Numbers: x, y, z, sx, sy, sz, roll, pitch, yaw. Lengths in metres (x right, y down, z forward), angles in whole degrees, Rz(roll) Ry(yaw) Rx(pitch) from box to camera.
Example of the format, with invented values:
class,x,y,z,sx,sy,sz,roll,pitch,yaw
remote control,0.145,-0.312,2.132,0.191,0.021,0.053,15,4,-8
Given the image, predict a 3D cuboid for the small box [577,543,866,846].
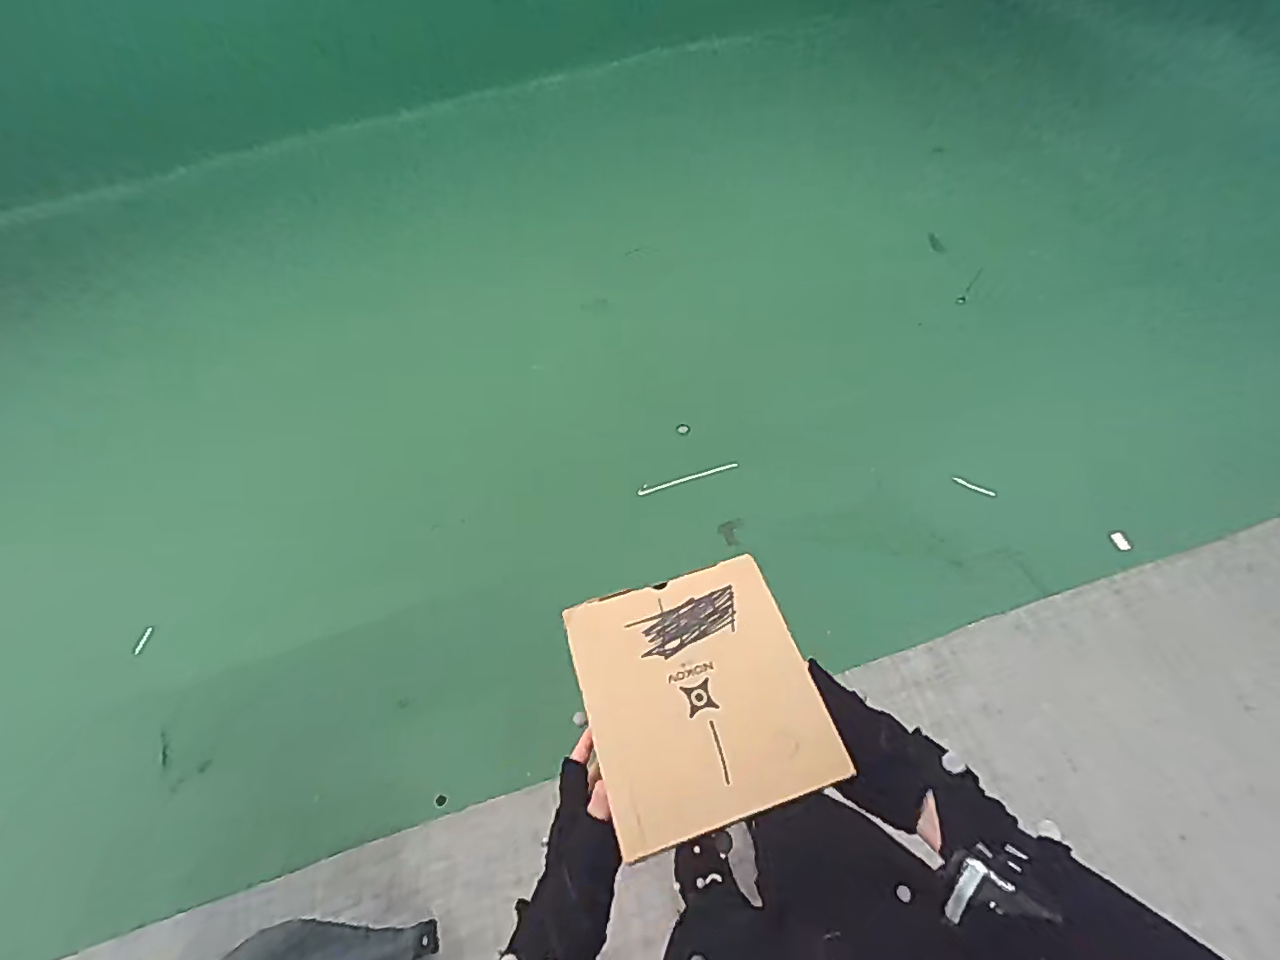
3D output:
class,x,y,z,sx,sy,sz,roll,pitch,yaw
small box,0.049,0.183,0.456,0.168,0.176,0.179,-14,56,-9
